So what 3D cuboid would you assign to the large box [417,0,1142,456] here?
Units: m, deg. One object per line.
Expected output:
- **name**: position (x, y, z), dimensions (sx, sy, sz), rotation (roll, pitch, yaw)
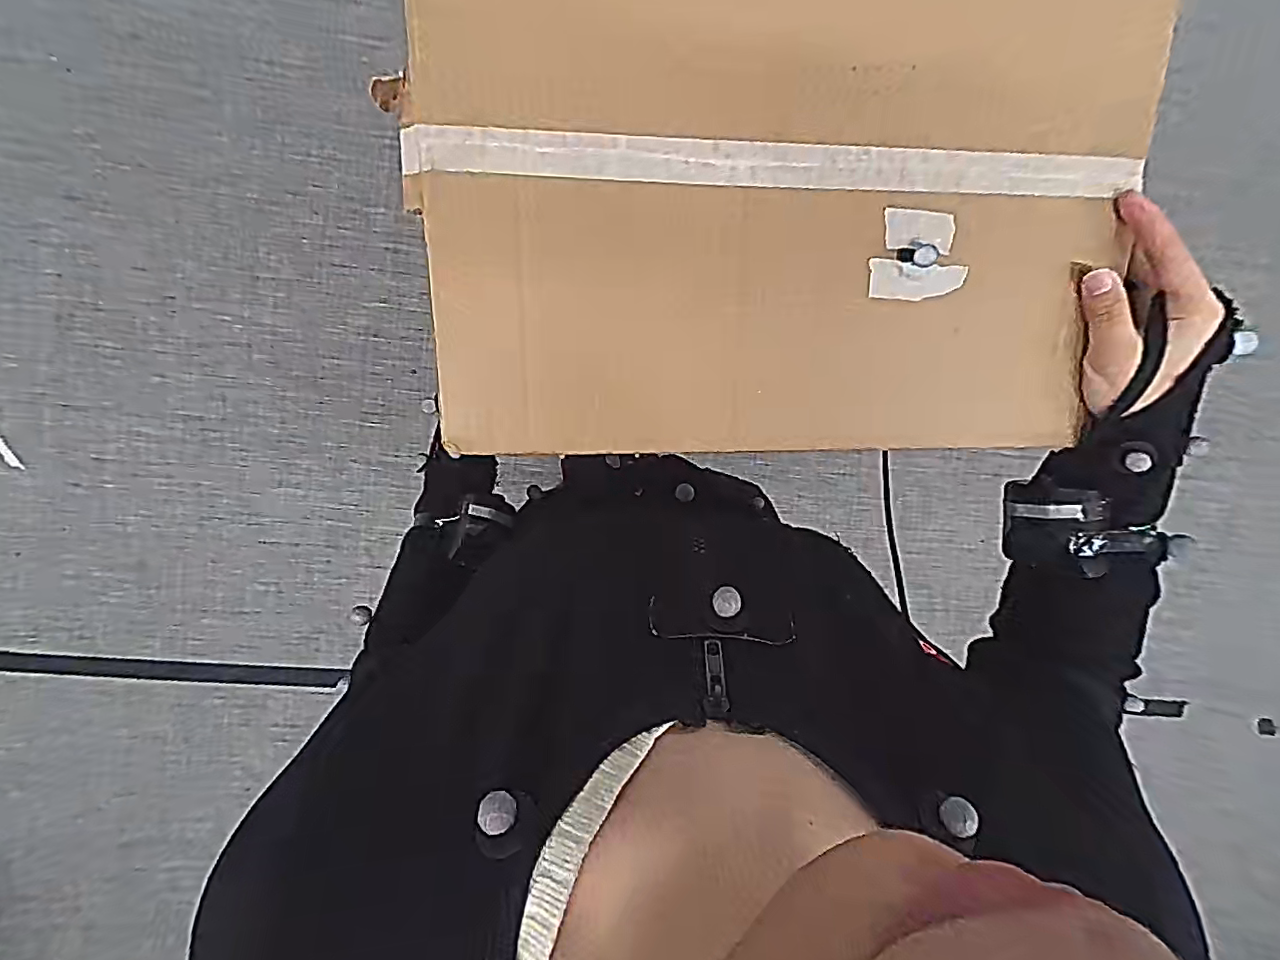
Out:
- **large box**: position (0.067, -0.206, 0.449), dimensions (0.408, 0.320, 0.320), rotation (-2, 105, -8)
